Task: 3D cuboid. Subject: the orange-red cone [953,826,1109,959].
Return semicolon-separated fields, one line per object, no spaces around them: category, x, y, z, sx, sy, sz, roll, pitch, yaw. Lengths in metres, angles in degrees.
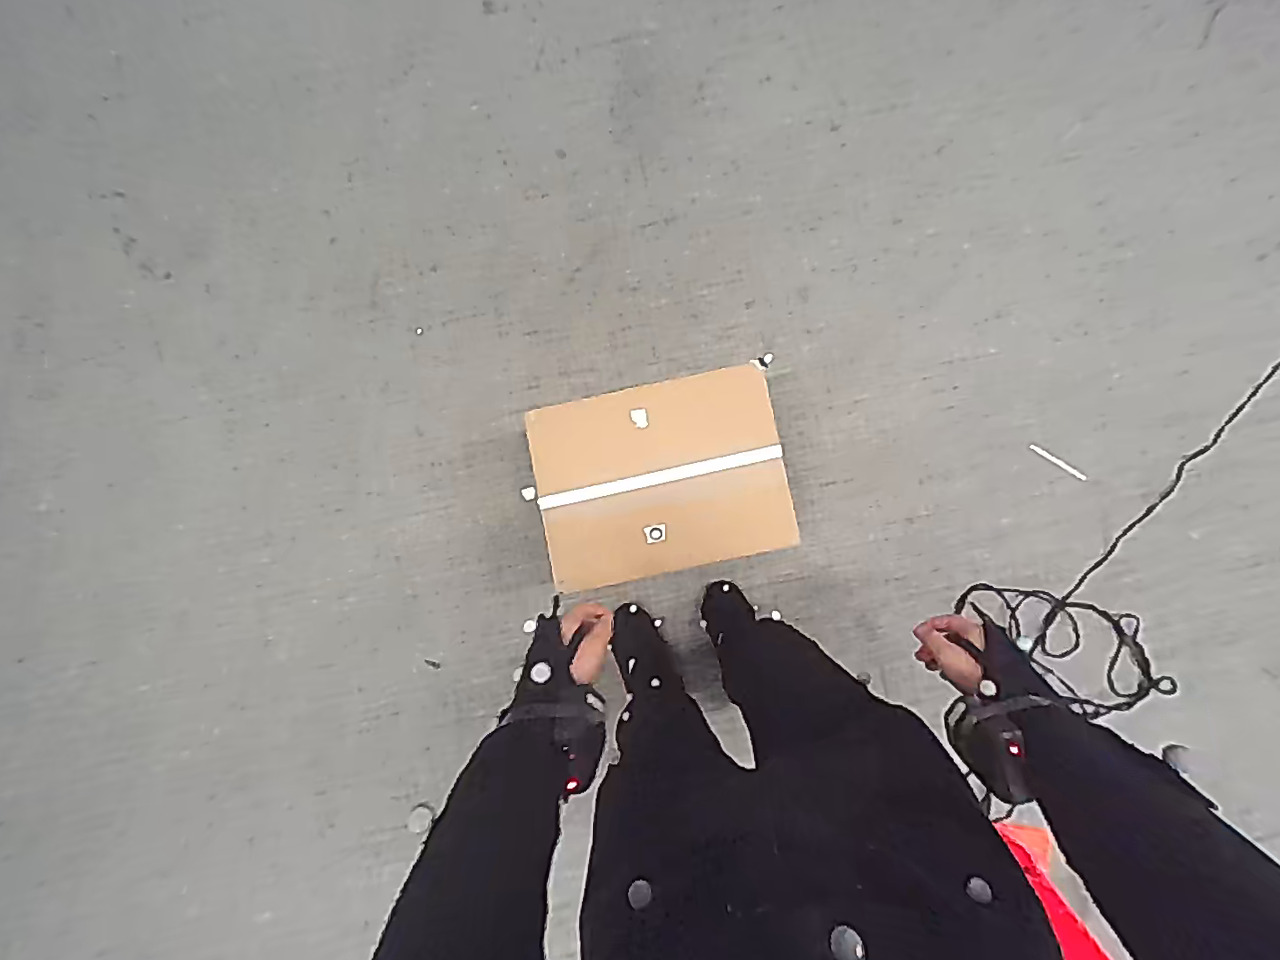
orange-red cone;0.758;0.821;0.950;0.199;0.360;0.198;9;88;0
